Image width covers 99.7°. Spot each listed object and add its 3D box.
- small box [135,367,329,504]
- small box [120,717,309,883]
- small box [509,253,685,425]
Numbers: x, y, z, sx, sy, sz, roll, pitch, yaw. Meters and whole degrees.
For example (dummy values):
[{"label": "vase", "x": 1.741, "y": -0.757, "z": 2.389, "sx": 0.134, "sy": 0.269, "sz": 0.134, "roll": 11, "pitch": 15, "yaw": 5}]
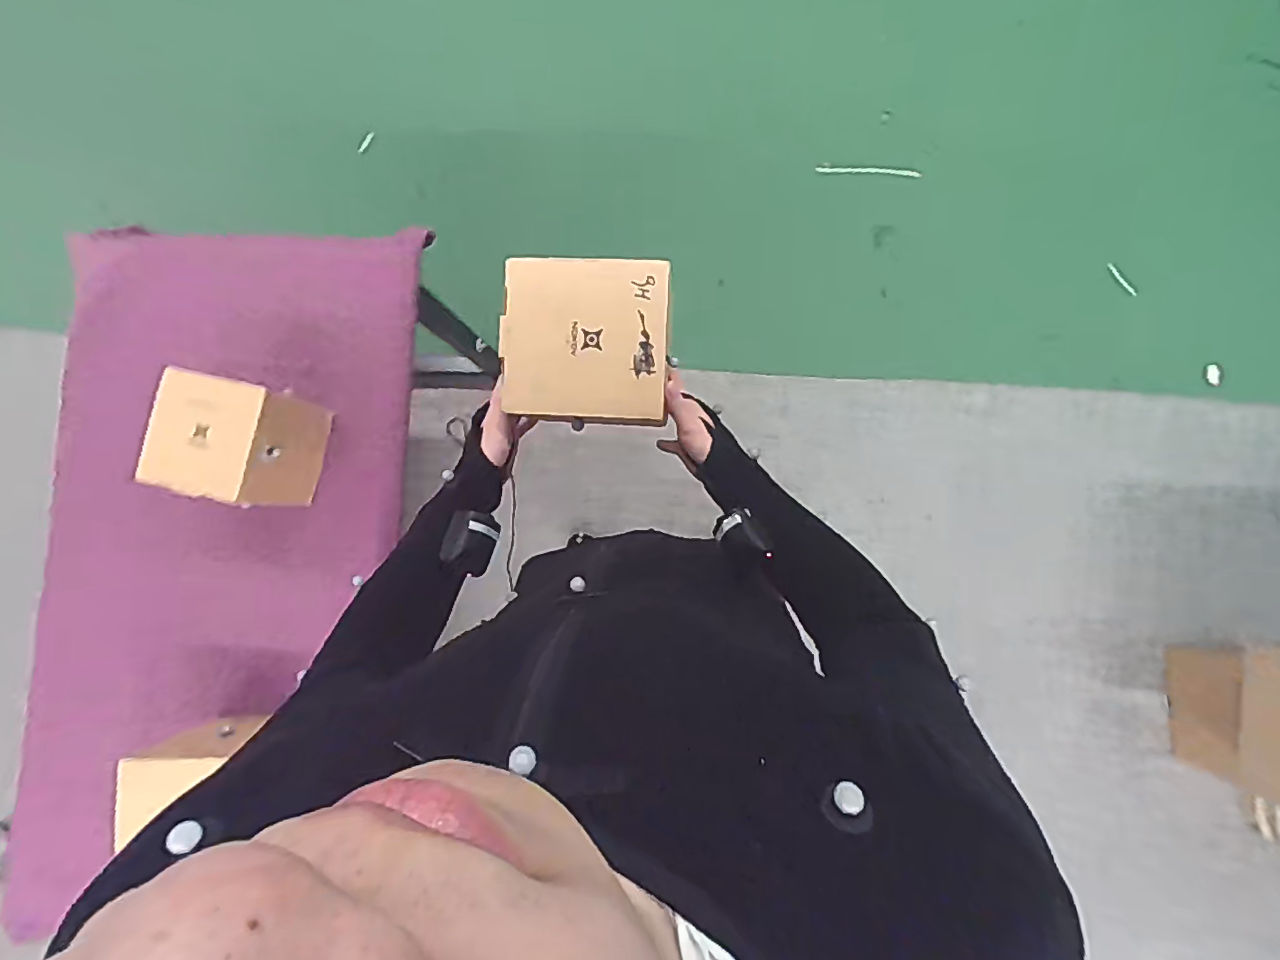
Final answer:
[{"label": "small box", "x": -0.639, "y": -0.062, "z": 0.870, "sx": 0.168, "sy": 0.176, "sz": 0.179, "roll": 13, "pitch": 88, "yaw": 4}, {"label": "small box", "x": -0.647, "y": 0.483, "z": 0.842, "sx": 0.168, "sy": 0.176, "sz": 0.179, "roll": -2, "pitch": 87, "yaw": 3}, {"label": "small box", "x": -0.041, "y": -0.155, "z": 0.644, "sx": 0.179, "sy": 0.176, "sz": 0.168, "roll": 4, "pitch": 94, "yaw": 4}]
